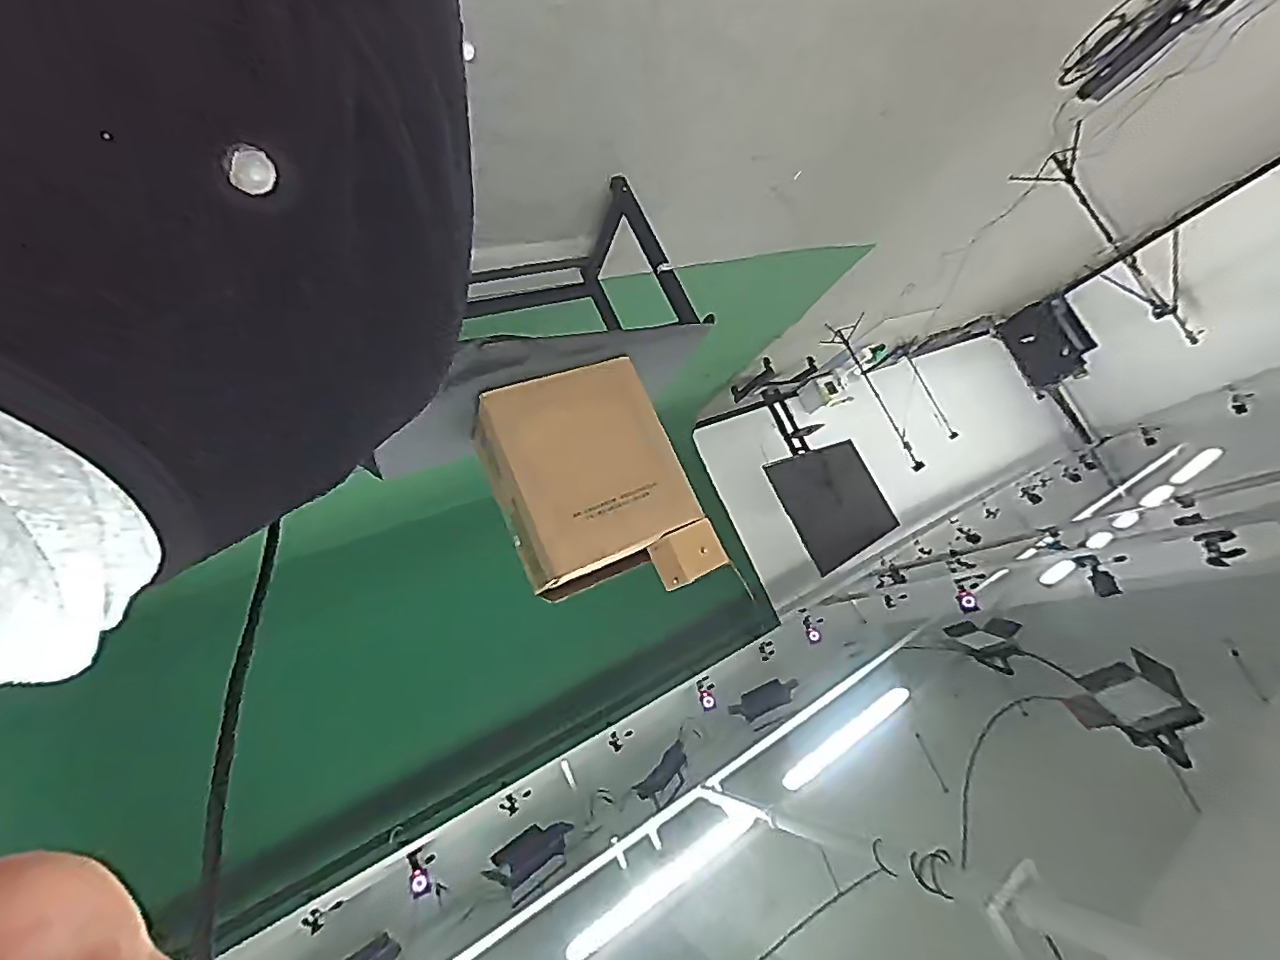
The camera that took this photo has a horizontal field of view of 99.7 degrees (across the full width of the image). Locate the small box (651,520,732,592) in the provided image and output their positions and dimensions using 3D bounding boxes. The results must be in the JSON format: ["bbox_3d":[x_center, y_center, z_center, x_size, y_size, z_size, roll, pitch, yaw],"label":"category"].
[{"bbox_3d":[0.169,0.252,1.815,0.179,0.176,0.168,-22,168,-29],"label":"small box"}]
